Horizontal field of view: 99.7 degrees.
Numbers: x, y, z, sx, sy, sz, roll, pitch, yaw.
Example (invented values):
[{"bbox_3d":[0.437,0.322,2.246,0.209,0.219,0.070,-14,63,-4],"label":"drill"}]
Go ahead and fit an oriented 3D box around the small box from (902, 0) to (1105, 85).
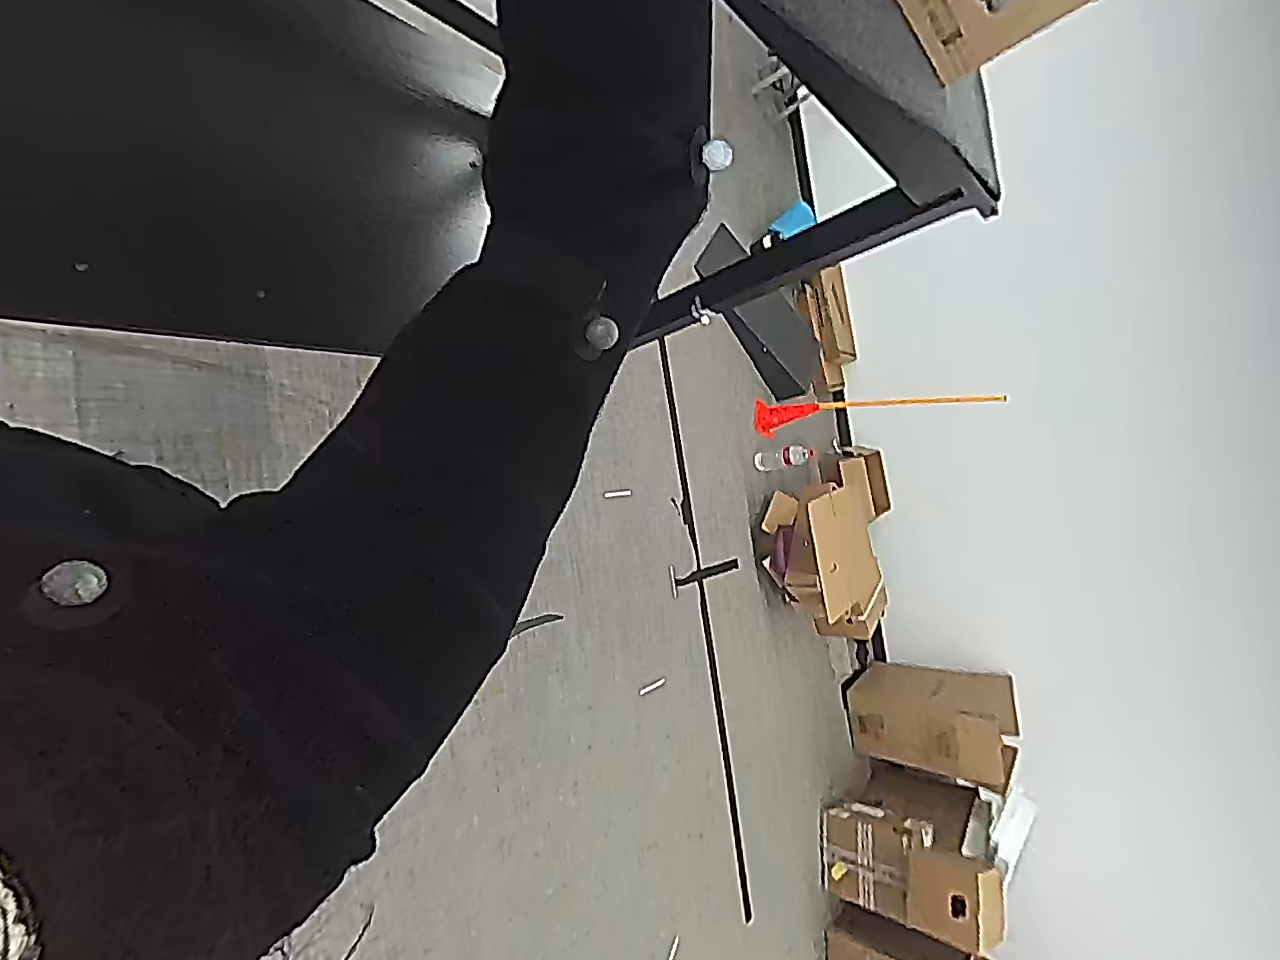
[{"bbox_3d":[0.274,-0.450,0.389,0.168,0.176,0.179,-4,84,-47],"label":"small box"}]
